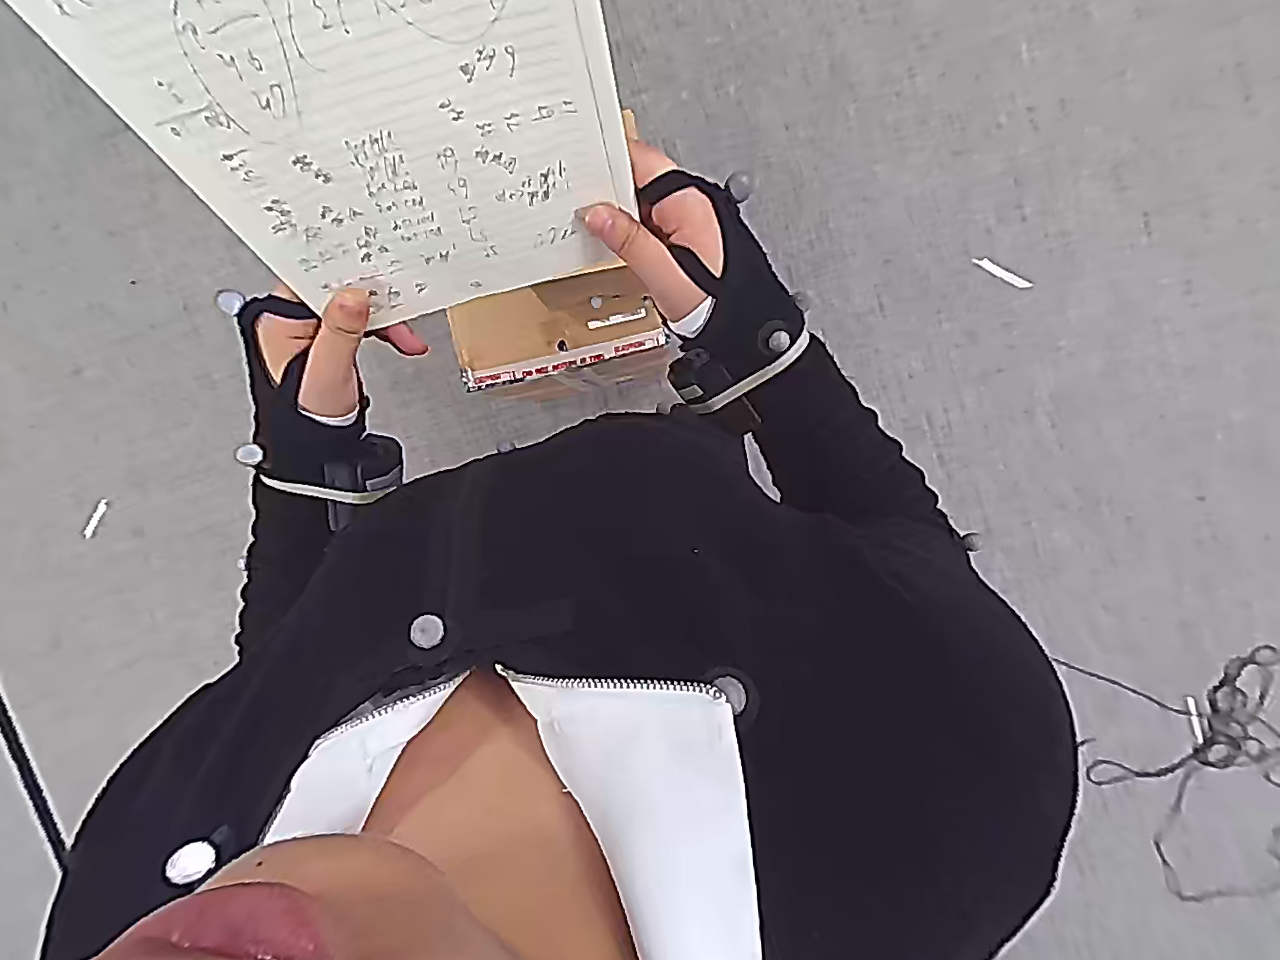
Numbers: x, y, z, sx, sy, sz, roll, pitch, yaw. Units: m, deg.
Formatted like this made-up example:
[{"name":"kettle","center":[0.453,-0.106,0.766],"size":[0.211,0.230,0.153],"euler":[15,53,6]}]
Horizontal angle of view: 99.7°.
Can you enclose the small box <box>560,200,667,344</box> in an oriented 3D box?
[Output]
[{"name":"small box","center":[-0.062,-0.335,0.903],"size":[0.179,0.176,0.168],"euler":[-14,96,2]}]

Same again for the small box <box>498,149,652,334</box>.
[{"name":"small box","center":[-0.081,-0.311,0.740],"size":[0.168,0.176,0.179],"euler":[-10,97,1]}]
